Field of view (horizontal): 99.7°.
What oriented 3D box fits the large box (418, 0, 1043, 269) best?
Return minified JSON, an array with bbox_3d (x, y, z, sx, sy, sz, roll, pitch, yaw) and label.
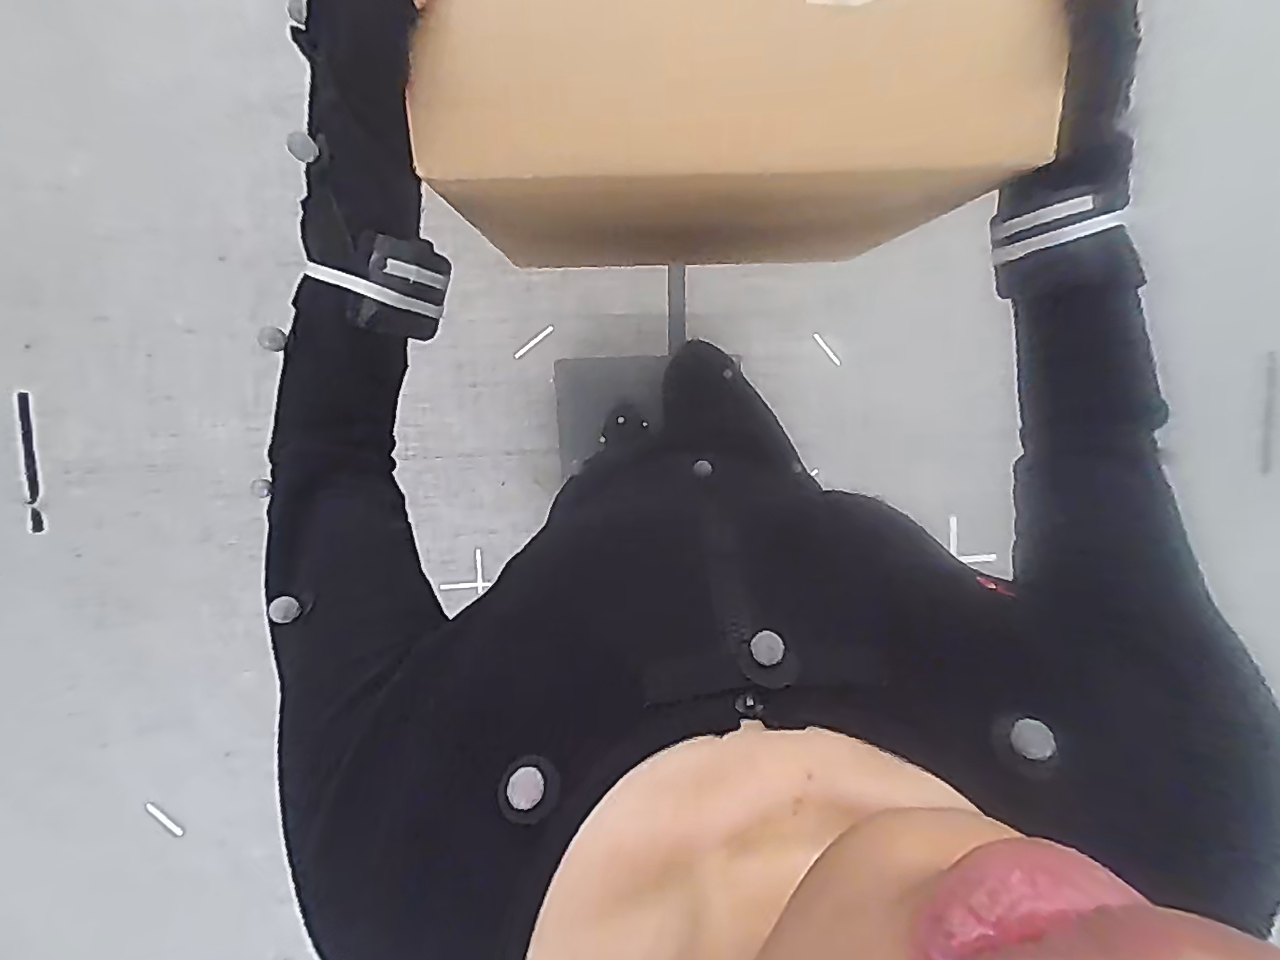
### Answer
[{"bbox_3d":[0.051,-0.385,0.476,0.408,0.320,0.320,-2,101,-1],"label":"large box"}]
